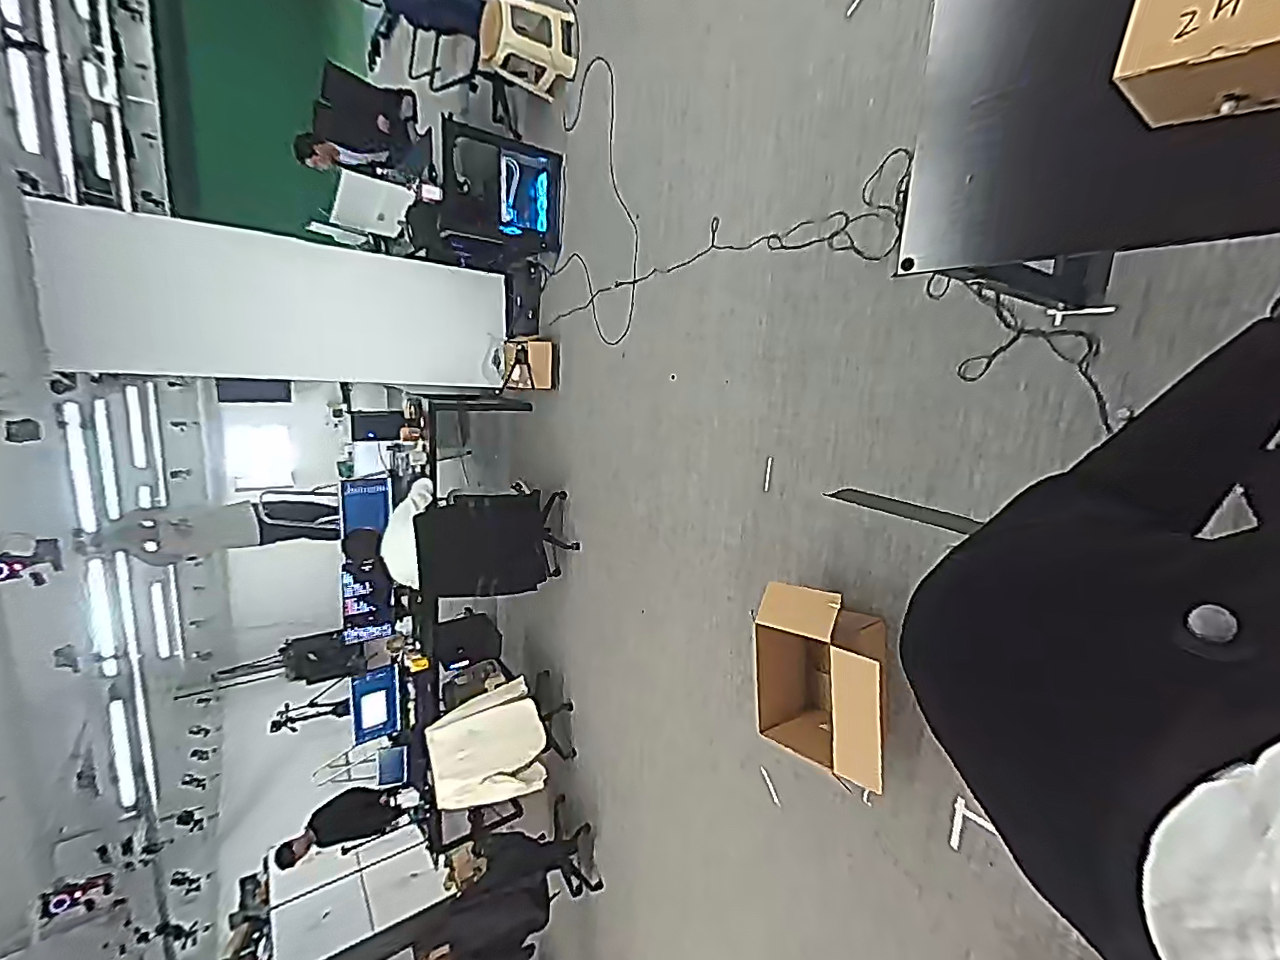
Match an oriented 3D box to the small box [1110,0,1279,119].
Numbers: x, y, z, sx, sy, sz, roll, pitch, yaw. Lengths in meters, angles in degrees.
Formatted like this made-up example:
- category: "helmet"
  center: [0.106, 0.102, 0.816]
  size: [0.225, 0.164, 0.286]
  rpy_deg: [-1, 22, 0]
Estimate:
- category: "small box"
  center: [0.627, -0.502, 0.543]
  size: [0.168, 0.176, 0.179]
  rpy_deg: [28, 116, 50]
